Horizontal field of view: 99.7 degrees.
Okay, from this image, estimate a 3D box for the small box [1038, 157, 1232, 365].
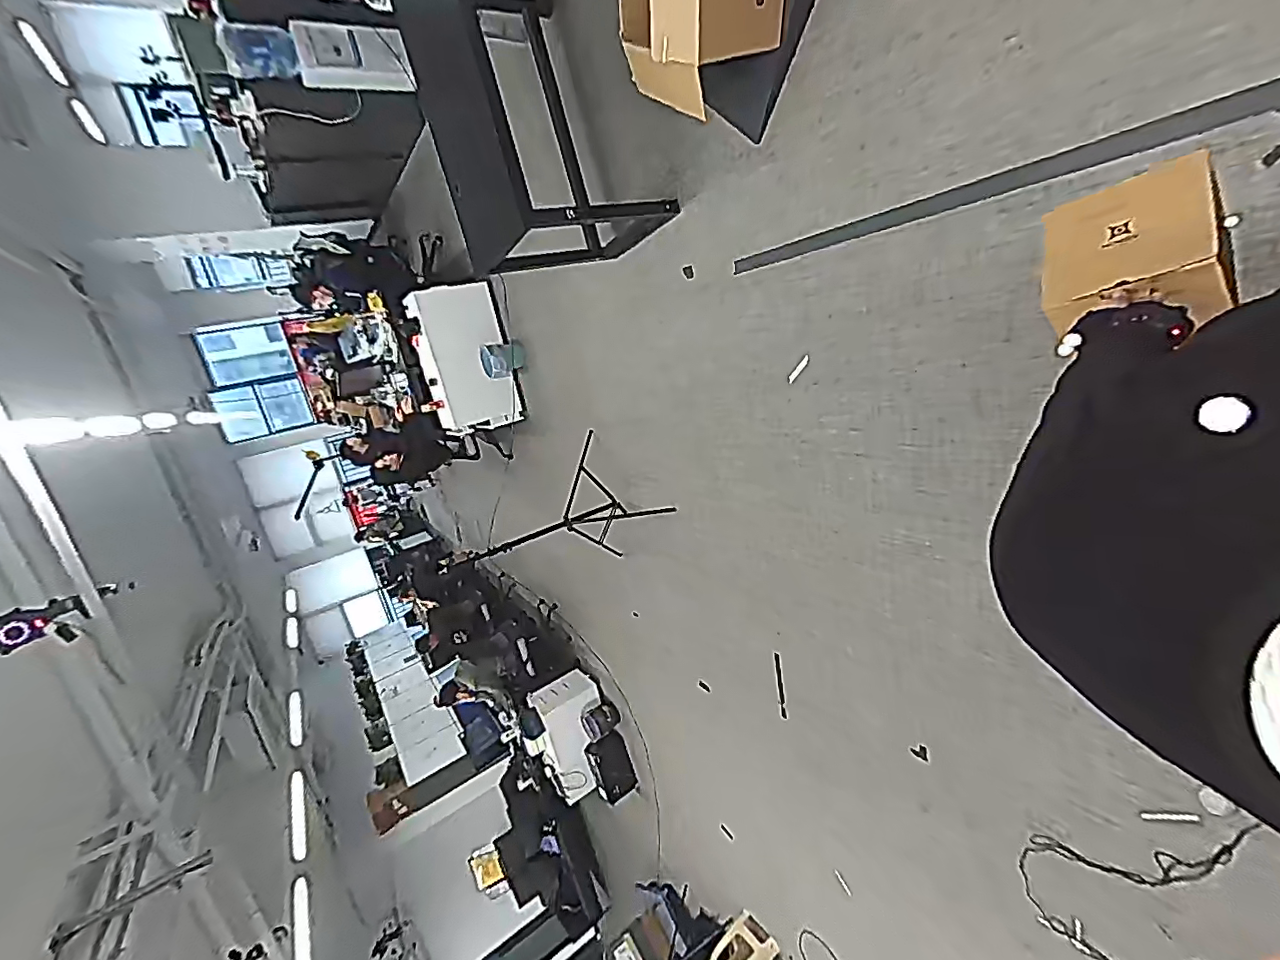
[{"bbox_3d":[0.669,-0.277,0.735,0.168,0.176,0.179,-9,57,51],"label":"small box"}]
